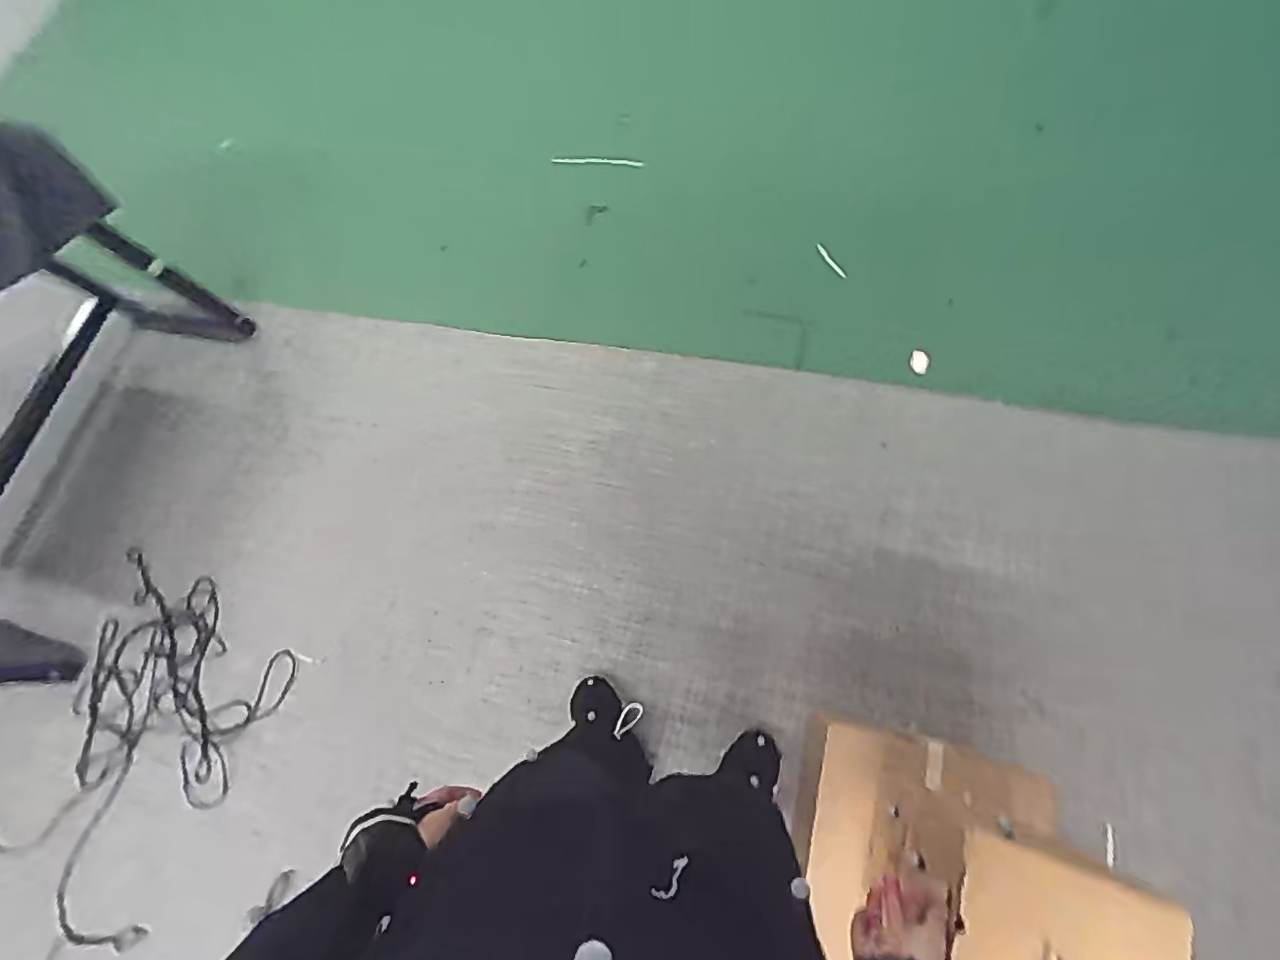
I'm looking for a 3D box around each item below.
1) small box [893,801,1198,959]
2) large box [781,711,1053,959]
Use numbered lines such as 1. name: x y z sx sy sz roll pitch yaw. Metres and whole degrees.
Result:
1. small box: 0.375 0.448 0.532 0.179 0.176 0.168 16 76 17
2. large box: 0.424 0.642 0.894 0.320 0.320 0.408 10 75 16
